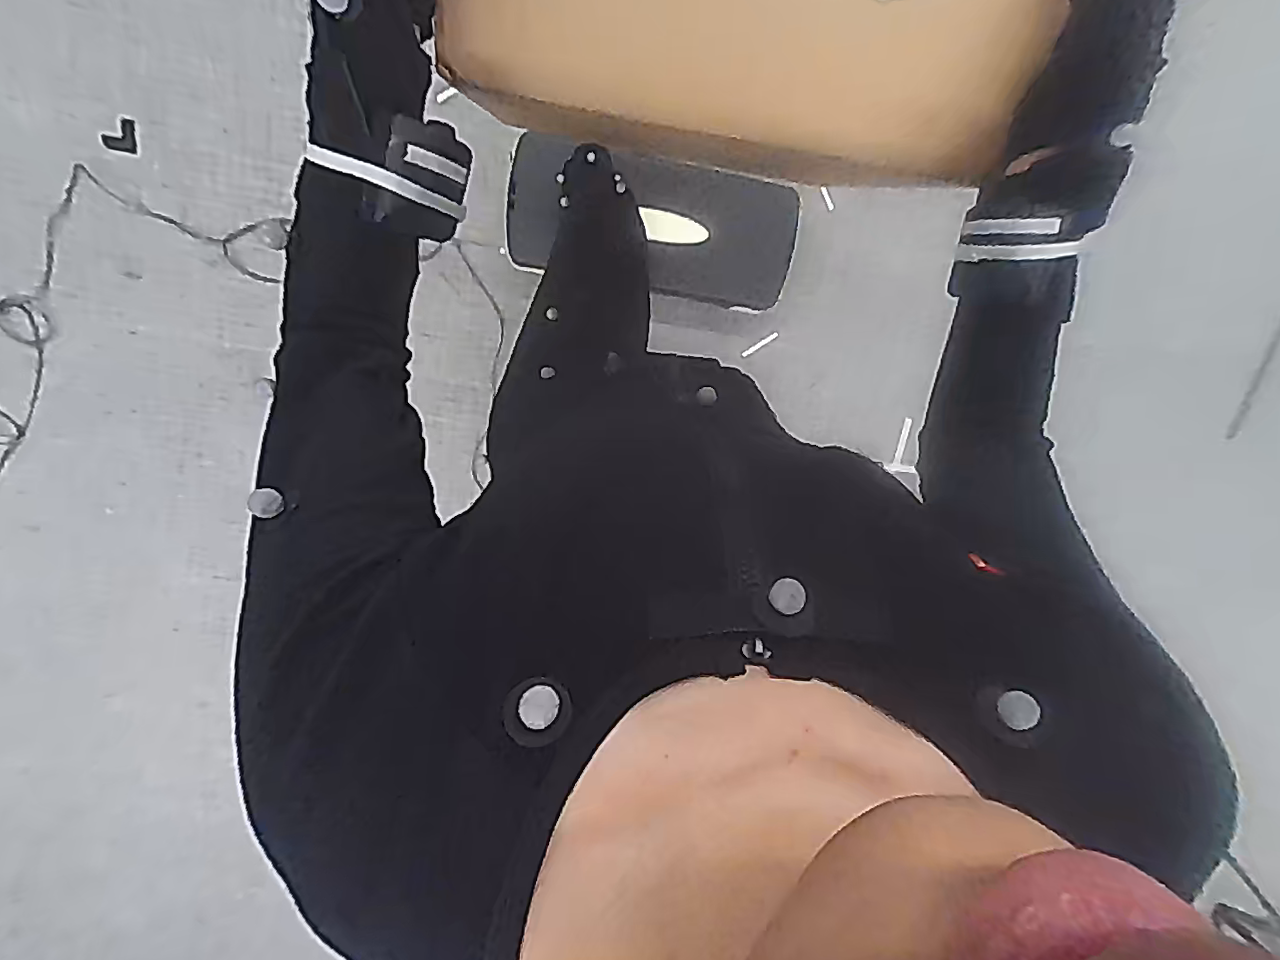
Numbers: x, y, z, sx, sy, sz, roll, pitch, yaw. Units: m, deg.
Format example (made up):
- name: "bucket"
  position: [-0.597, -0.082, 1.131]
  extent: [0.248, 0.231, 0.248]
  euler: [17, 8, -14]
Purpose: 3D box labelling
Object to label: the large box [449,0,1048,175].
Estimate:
- name: "large box"
  position: [0.073, -0.456, 0.444]
  extent: [0.408, 0.320, 0.320]
  euler: [4, 118, -10]
